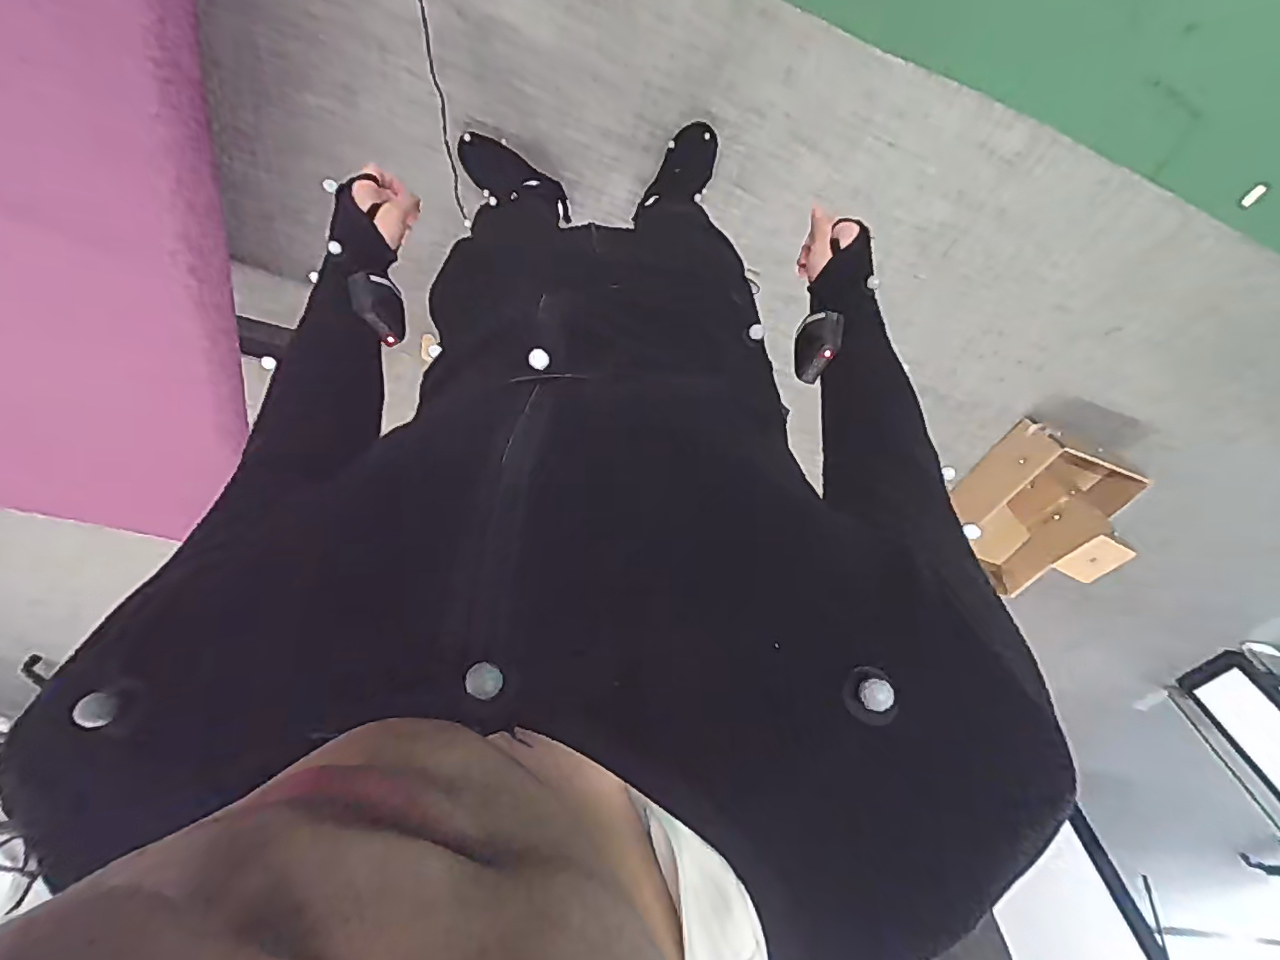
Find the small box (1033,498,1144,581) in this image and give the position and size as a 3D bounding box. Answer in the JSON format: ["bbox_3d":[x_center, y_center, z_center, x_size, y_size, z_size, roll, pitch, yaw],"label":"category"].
[{"bbox_3d":[1.396,0.182,1.692,0.179,0.176,0.168,23,127,-17],"label":"small box"}]

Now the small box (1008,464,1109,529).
[{"bbox_3d":[1.394,0.074,1.814,0.179,0.176,0.168,20,129,-14],"label":"small box"}]
